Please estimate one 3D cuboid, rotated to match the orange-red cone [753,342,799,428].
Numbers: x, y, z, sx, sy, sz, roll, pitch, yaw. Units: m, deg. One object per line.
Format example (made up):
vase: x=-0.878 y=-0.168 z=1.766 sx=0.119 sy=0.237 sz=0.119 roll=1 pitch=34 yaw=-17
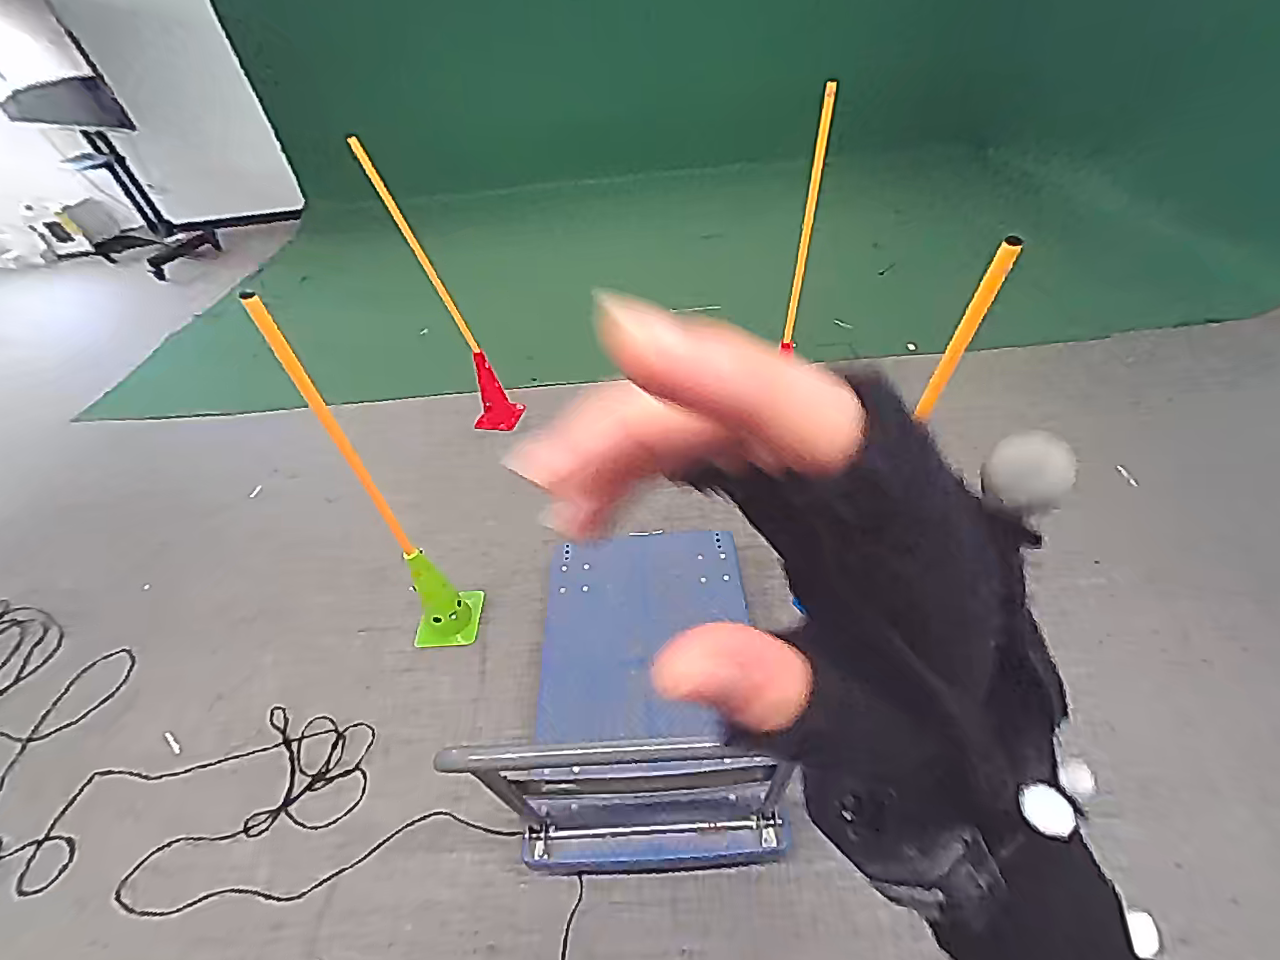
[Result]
orange-red cone: x=0.586 y=-0.416 z=2.278 sx=0.198 sy=0.360 sz=0.199 roll=3 pitch=46 yaw=11
